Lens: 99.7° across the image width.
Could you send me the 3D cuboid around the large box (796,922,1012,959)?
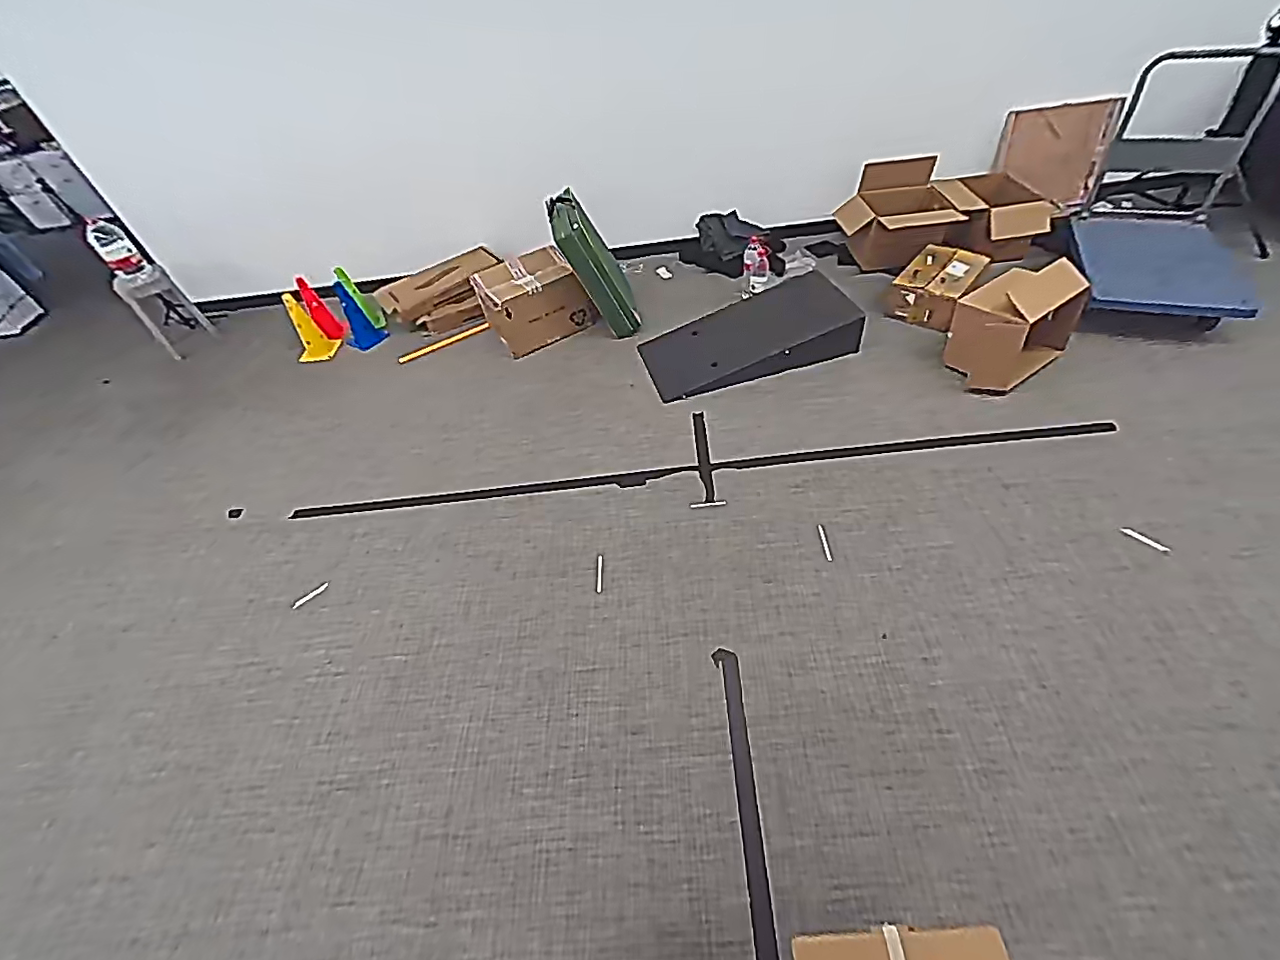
[{"bbox_3d":[0.438,0.946,0.824,0.320,0.320,0.408,-11,49,9],"label":"large box"}]
